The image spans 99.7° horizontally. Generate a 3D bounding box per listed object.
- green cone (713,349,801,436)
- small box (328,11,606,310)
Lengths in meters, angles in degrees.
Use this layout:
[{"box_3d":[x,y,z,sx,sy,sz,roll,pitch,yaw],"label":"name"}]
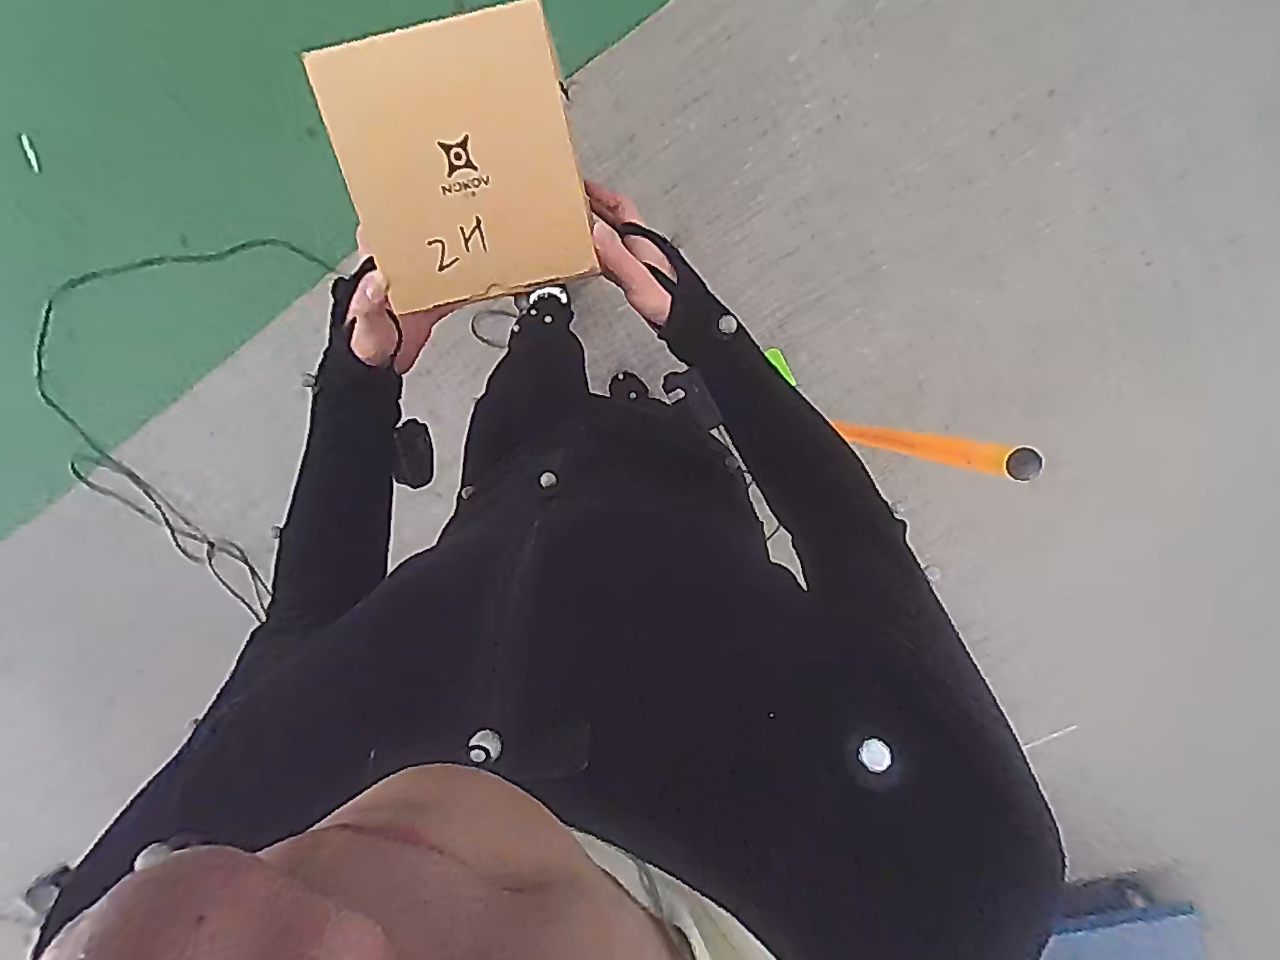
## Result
[{"box_3d":[0.327,-0.196,1.397,0.202,0.368,0.200,-30,104,13],"label":"green cone"},{"box_3d":[-0.126,-0.255,0.474,0.168,0.176,0.179,-10,111,2],"label":"small box"}]
